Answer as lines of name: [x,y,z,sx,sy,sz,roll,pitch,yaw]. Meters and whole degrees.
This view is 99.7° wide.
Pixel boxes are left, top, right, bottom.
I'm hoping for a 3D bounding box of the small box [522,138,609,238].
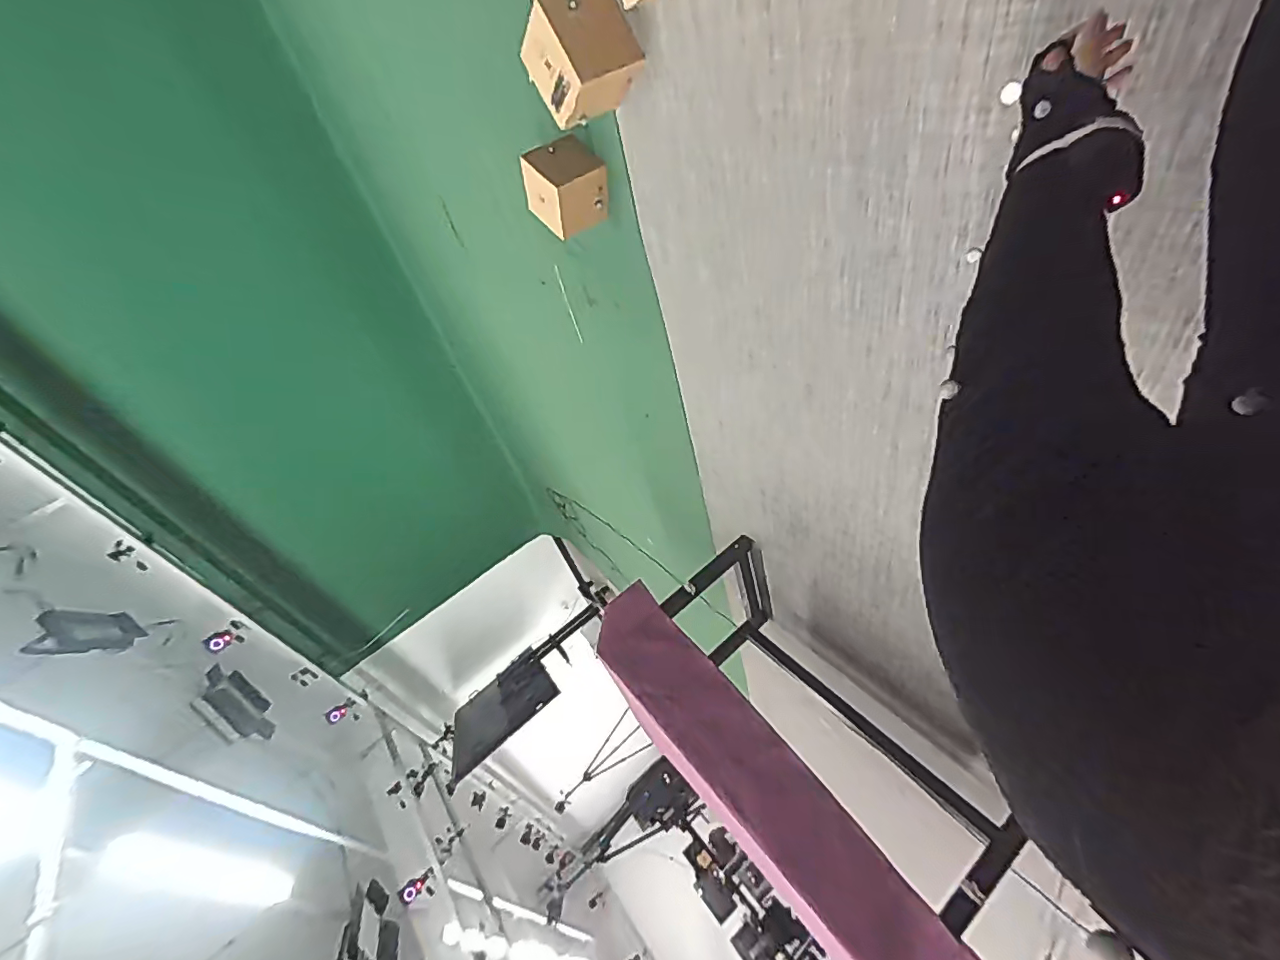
small box: [-0.207,-0.831,1.529,0.179,0.176,0.168,47,161,19]
